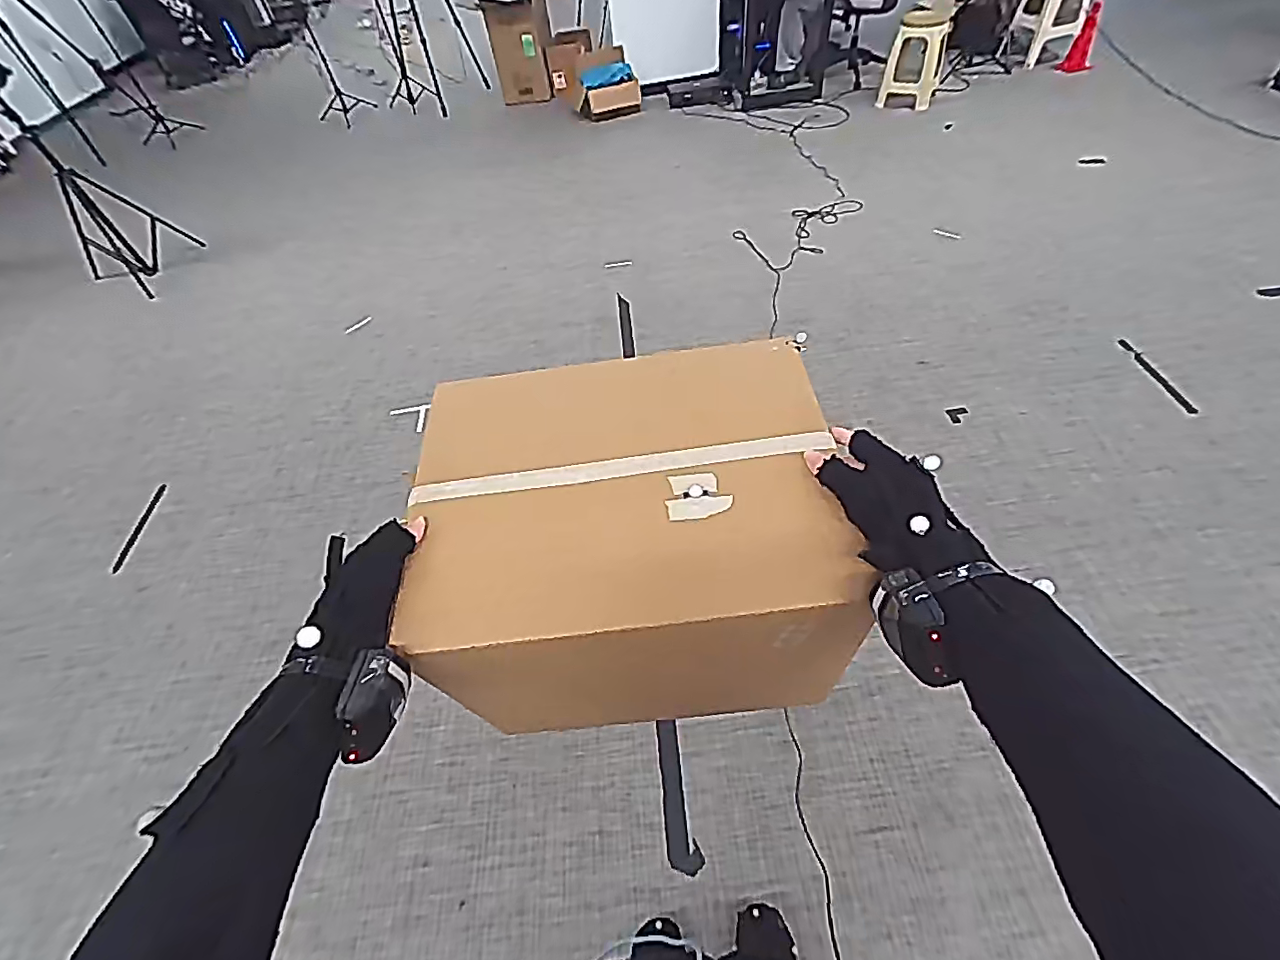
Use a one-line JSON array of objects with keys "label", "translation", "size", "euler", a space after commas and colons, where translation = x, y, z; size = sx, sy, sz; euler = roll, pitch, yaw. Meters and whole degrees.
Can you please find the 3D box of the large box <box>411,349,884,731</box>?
[{"label": "large box", "translation": [0.004, 0.084, 0.650], "size": [0.408, 0.320, 0.320], "euler": [-7, 54, 1]}]
